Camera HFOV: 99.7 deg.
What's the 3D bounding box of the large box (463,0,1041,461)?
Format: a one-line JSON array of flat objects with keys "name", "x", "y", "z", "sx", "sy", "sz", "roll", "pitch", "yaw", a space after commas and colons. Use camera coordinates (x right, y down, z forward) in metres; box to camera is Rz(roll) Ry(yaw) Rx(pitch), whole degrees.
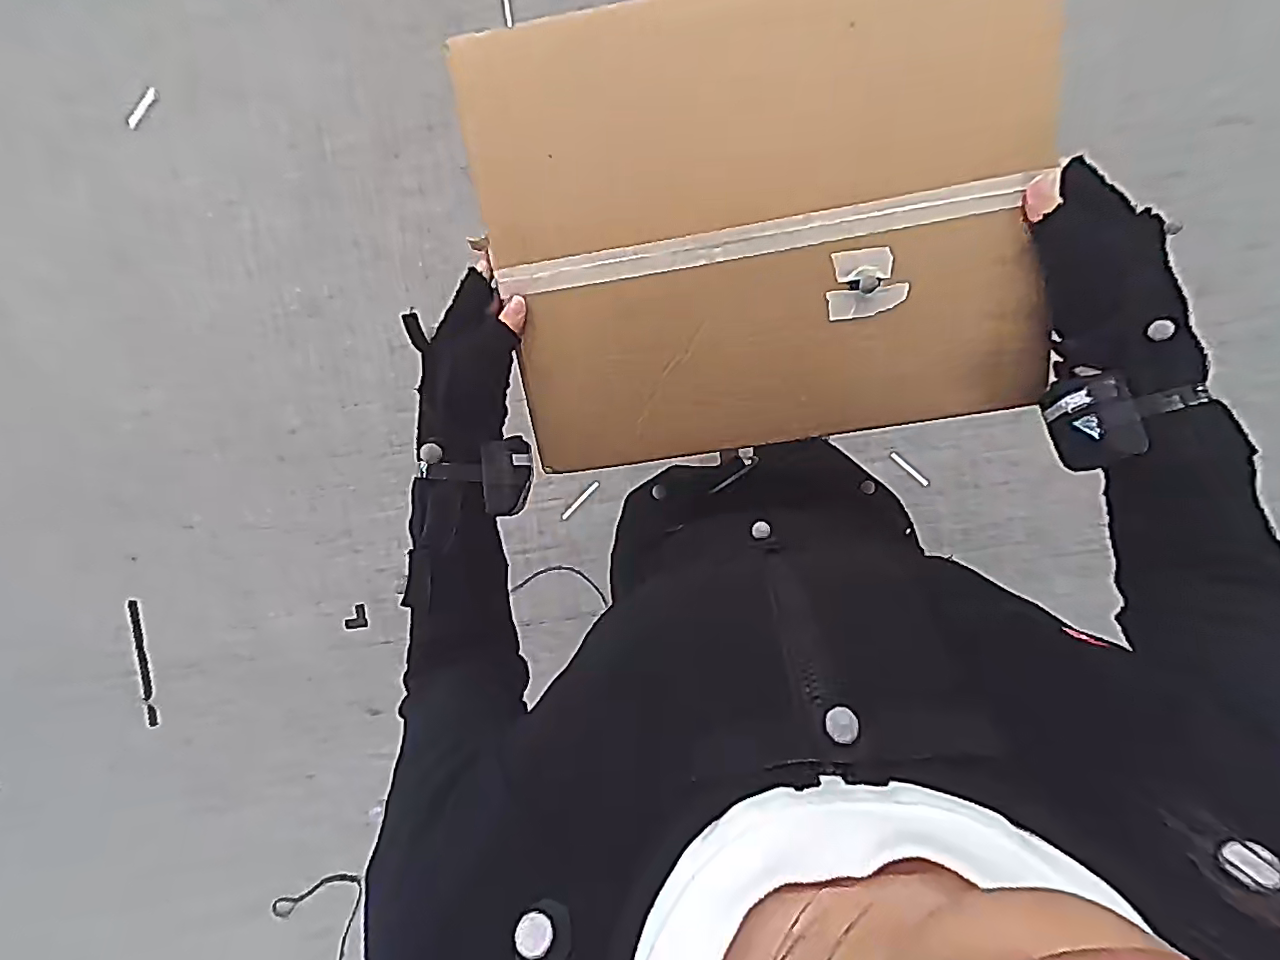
[{"name": "large box", "x": 0.095, "y": -0.234, "z": 0.552, "sx": 0.408, "sy": 0.320, "sz": 0.320, "roll": -9, "pitch": 108, "yaw": 4}]
